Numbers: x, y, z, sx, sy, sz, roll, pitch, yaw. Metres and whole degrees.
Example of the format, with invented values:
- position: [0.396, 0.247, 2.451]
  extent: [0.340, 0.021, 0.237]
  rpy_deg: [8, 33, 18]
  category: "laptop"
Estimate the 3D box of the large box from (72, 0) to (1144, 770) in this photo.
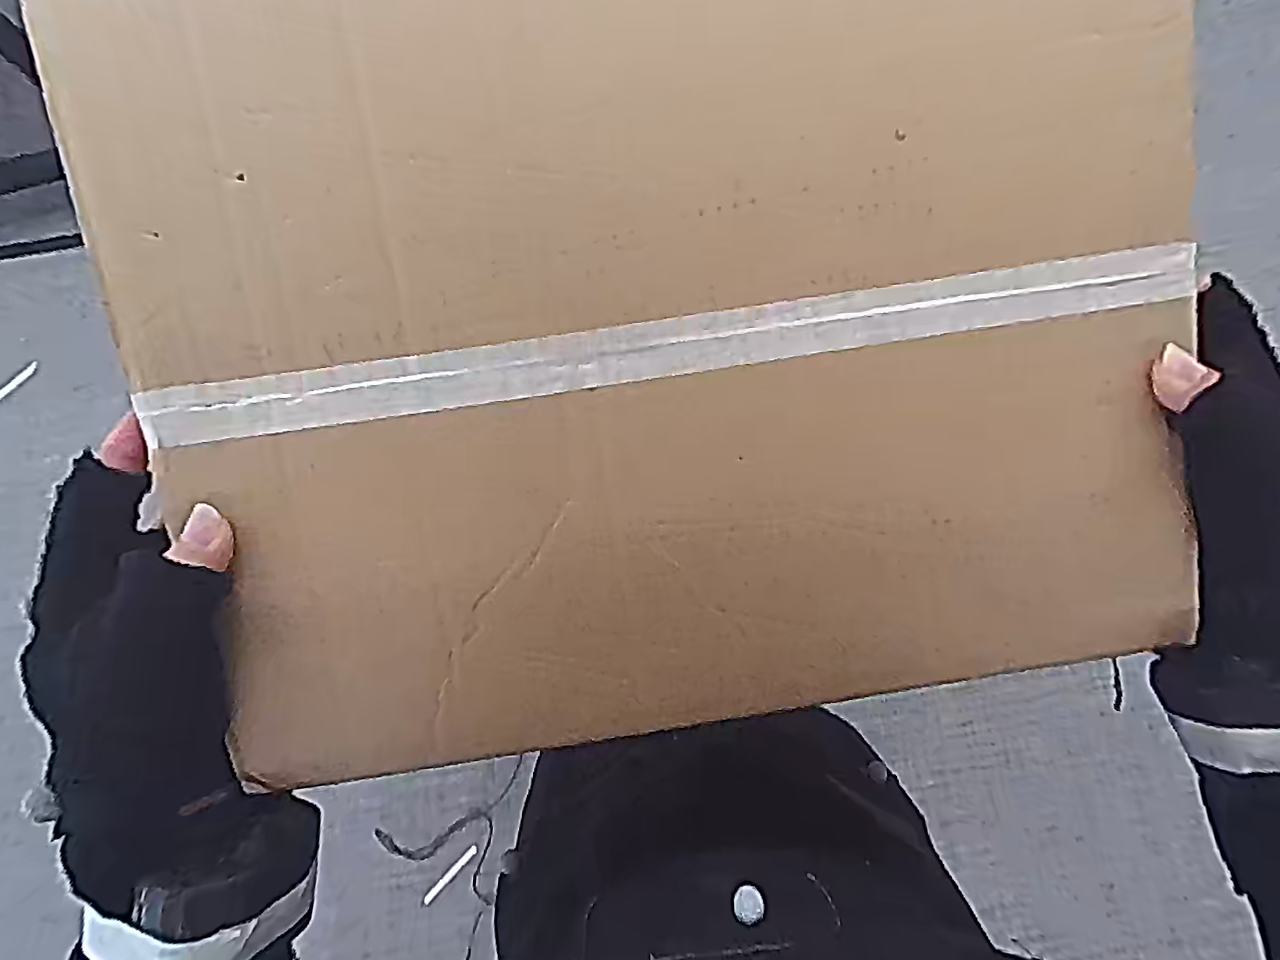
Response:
- position: [0.006, -0.074, 0.368]
  extent: [0.408, 0.320, 0.320]
  rpy_deg: [-9, 97, -2]
  category: "large box"
